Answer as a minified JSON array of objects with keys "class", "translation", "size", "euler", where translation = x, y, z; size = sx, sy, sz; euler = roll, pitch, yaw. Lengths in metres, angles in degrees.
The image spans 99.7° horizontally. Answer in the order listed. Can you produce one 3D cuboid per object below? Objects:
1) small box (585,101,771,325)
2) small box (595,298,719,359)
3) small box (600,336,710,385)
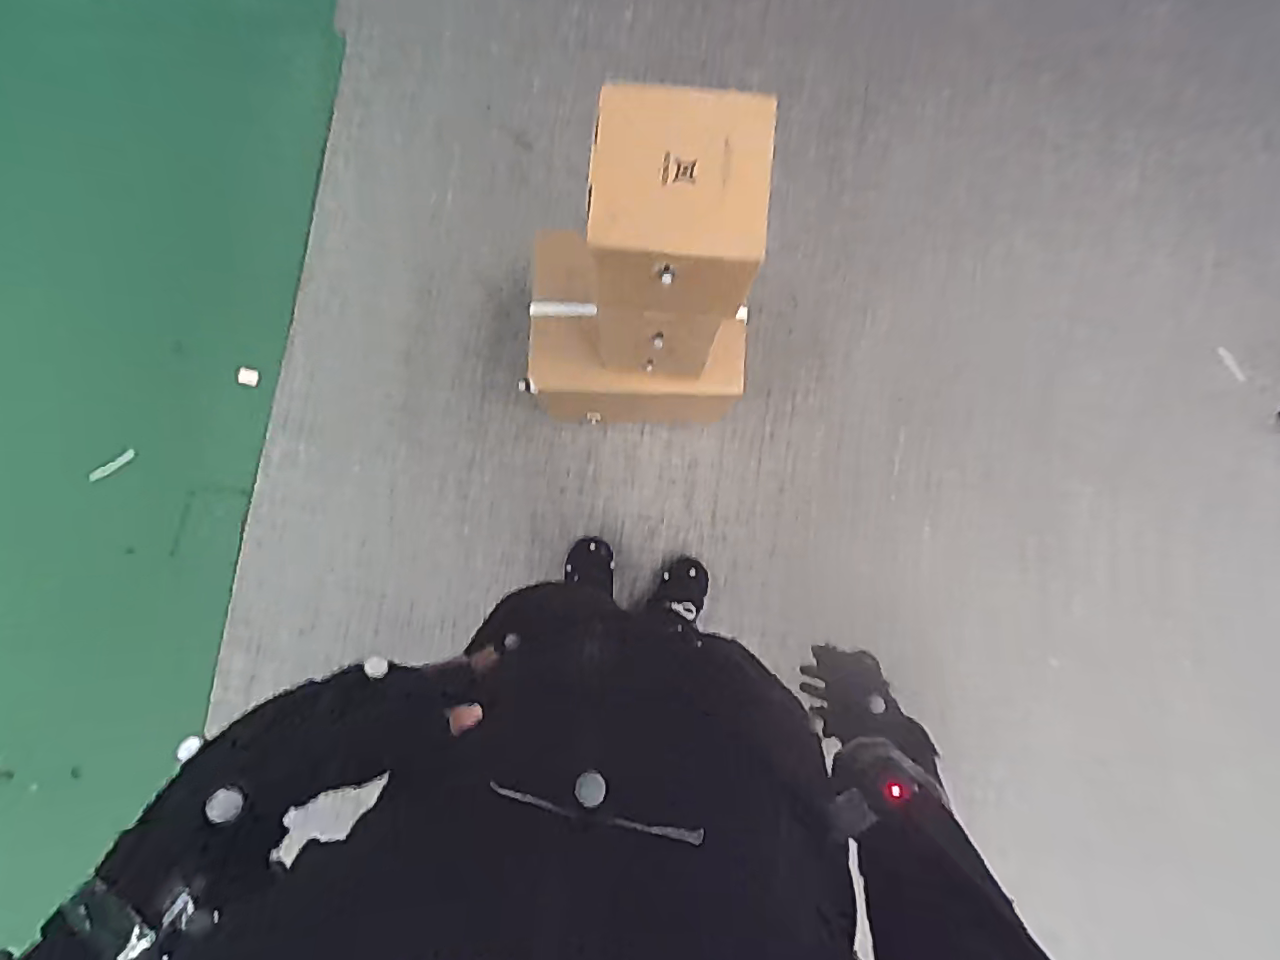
[{"class":"small box","translation":[0.038,-0.288,0.618],"size":[0.179,0.176,0.168],"euler":[5,87,-1]},{"class":"small box","translation":[0.029,-0.283,0.780],"size":[0.168,0.176,0.179],"euler":[4,86,0]},{"class":"small box","translation":[0.030,-0.270,0.943],"size":[0.179,0.176,0.168],"euler":[6,85,1]}]
